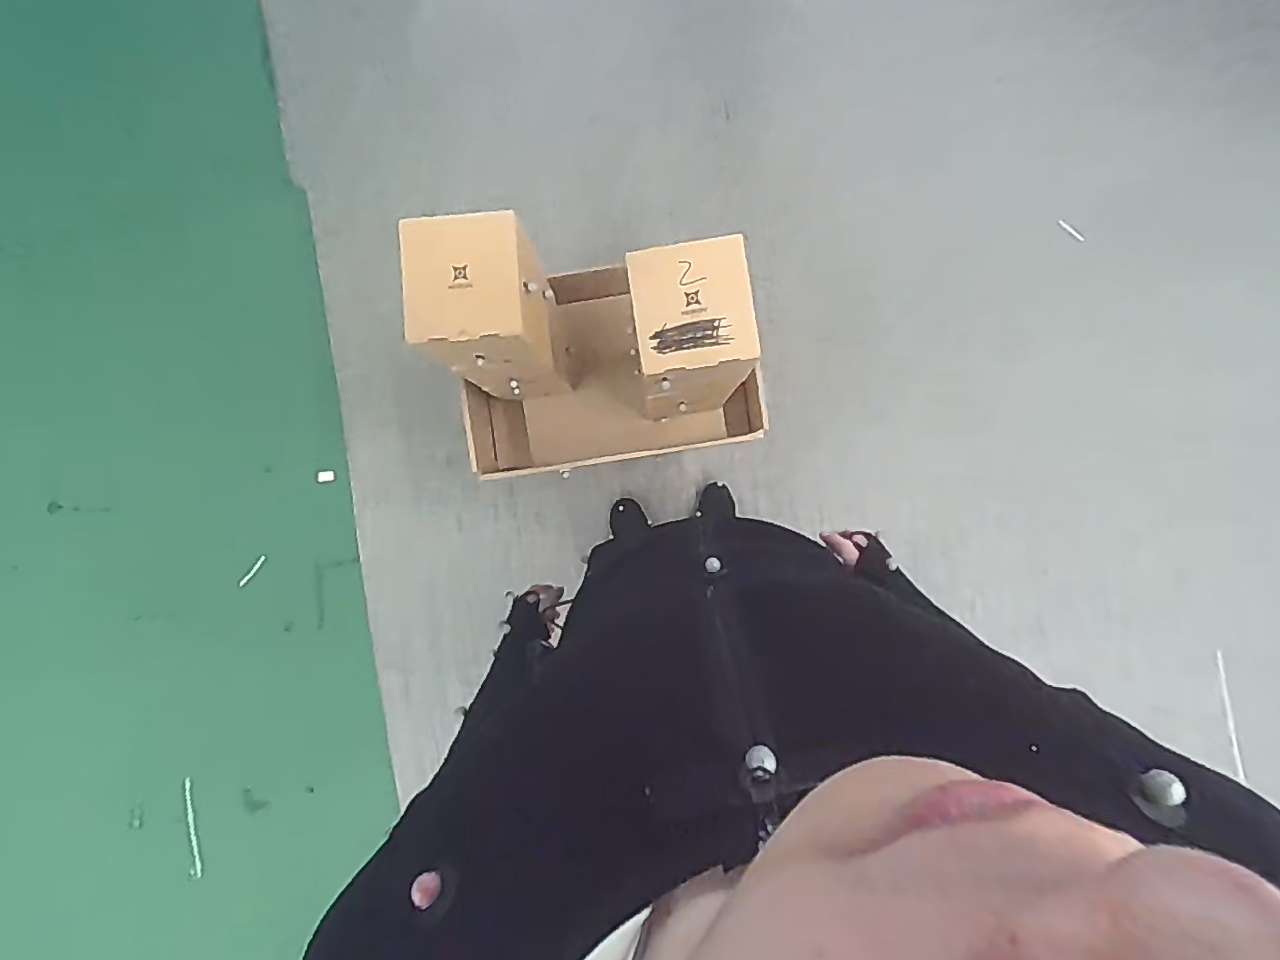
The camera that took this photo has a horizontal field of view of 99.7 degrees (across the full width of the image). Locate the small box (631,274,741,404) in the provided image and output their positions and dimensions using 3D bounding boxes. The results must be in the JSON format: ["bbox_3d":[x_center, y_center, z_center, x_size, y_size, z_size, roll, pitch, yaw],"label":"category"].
[{"bbox_3d":[0.077,-0.246,0.981,0.168,0.176,0.179,-10,89,1],"label":"small box"}]

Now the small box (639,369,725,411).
[{"bbox_3d":[0.081,-0.247,1.144,0.168,0.176,0.179,-9,89,1],"label":"small box"}]

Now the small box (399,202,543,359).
[{"bbox_3d":[-0.247,-0.293,0.826,0.168,0.176,0.179,-4,90,1],"label":"small box"}]

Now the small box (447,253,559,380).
[{"bbox_3d":[-0.247,-0.291,0.988,0.168,0.176,0.179,-5,90,2],"label":"small box"}]

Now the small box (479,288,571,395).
[{"bbox_3d":[-0.246,-0.289,1.152,0.168,0.176,0.179,-6,89,1],"label":"small box"}]
